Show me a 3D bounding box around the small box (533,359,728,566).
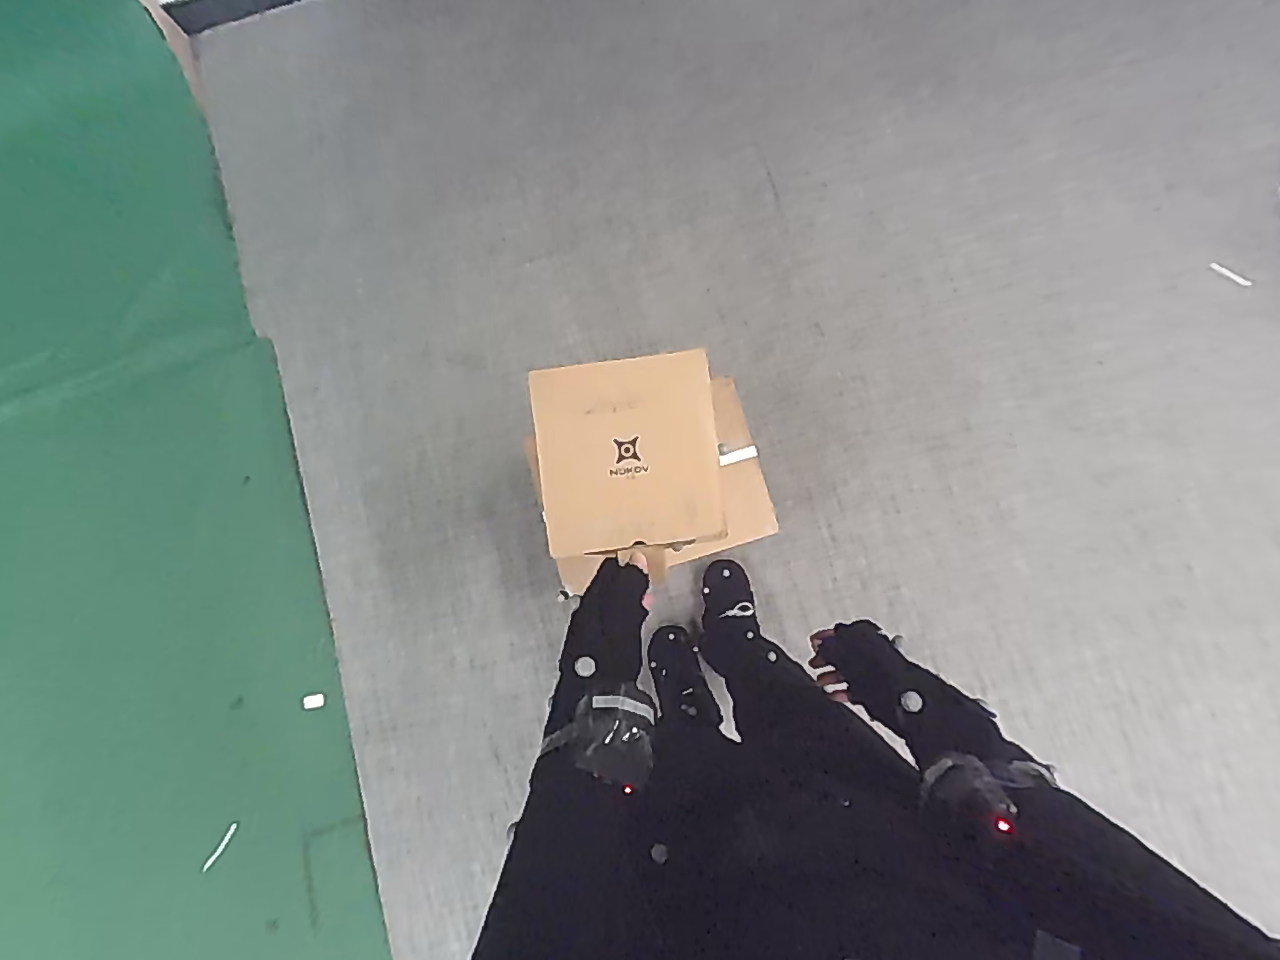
[{"bbox_3d":[-0.006,-0.015,0.577,0.168,0.176,0.179,-8,89,1],"label":"small box"}]
